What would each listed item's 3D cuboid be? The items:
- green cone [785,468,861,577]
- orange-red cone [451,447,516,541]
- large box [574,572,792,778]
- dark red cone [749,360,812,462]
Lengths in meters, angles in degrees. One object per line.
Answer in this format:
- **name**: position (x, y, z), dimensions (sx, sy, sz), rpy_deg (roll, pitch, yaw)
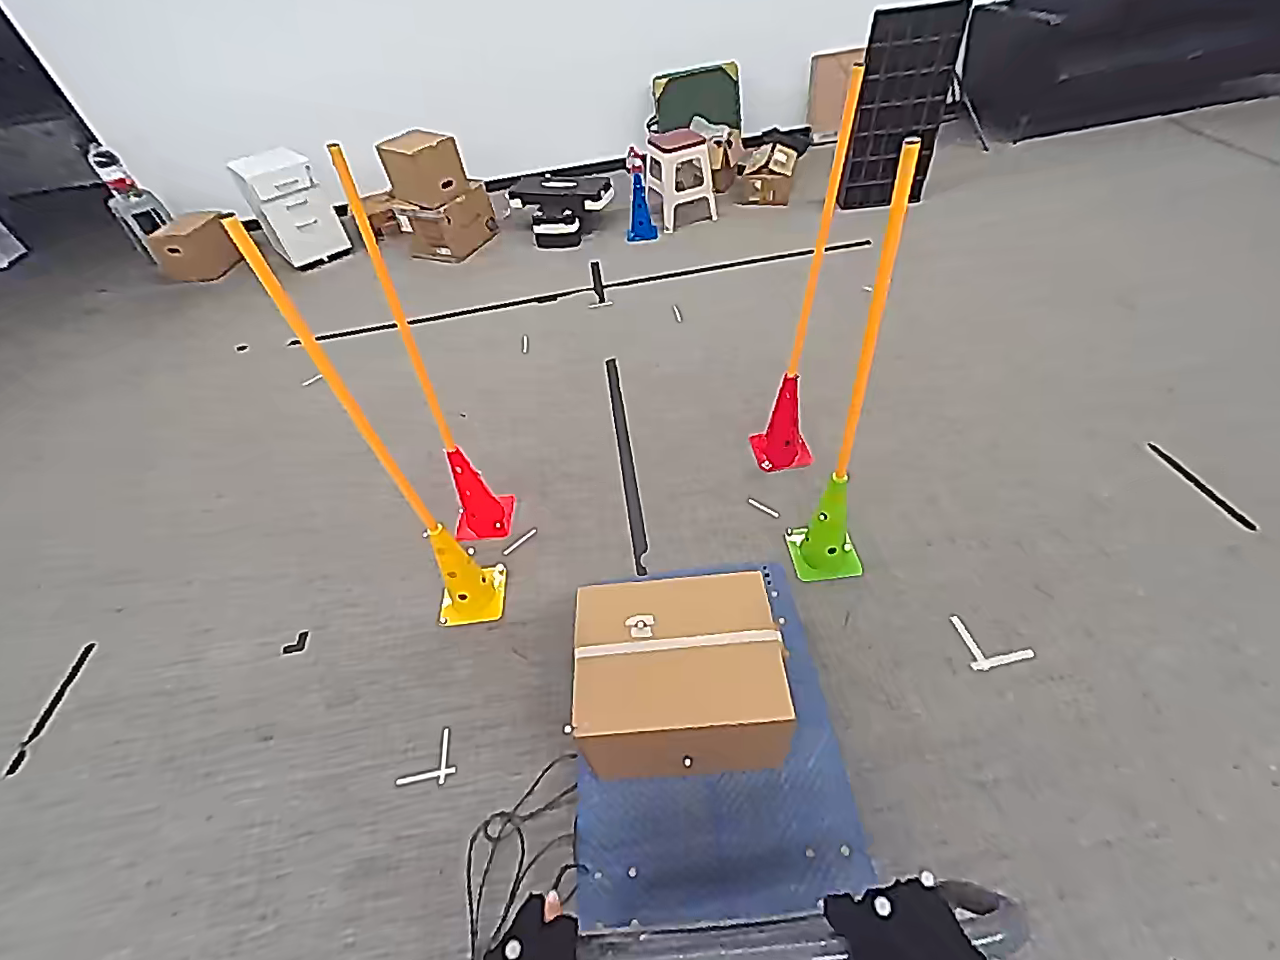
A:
- **green cone**: position (0.569, 0.106, 1.615), dimensions (0.202, 0.368, 0.200), rpy_deg (-7, 47, 1)
- **orange-red cone**: position (-0.579, 0.025, 1.870), dimensions (0.198, 0.360, 0.199), rpy_deg (-4, 45, 3)
- **large box**: position (0.088, 0.433, 1.184), dimensions (0.408, 0.320, 0.320), rpy_deg (-7, 47, 4)
- **dark red cone**: position (0.518, -0.255, 1.935), dimensions (0.201, 0.394, 0.202), rpy_deg (-9, 47, -2)
